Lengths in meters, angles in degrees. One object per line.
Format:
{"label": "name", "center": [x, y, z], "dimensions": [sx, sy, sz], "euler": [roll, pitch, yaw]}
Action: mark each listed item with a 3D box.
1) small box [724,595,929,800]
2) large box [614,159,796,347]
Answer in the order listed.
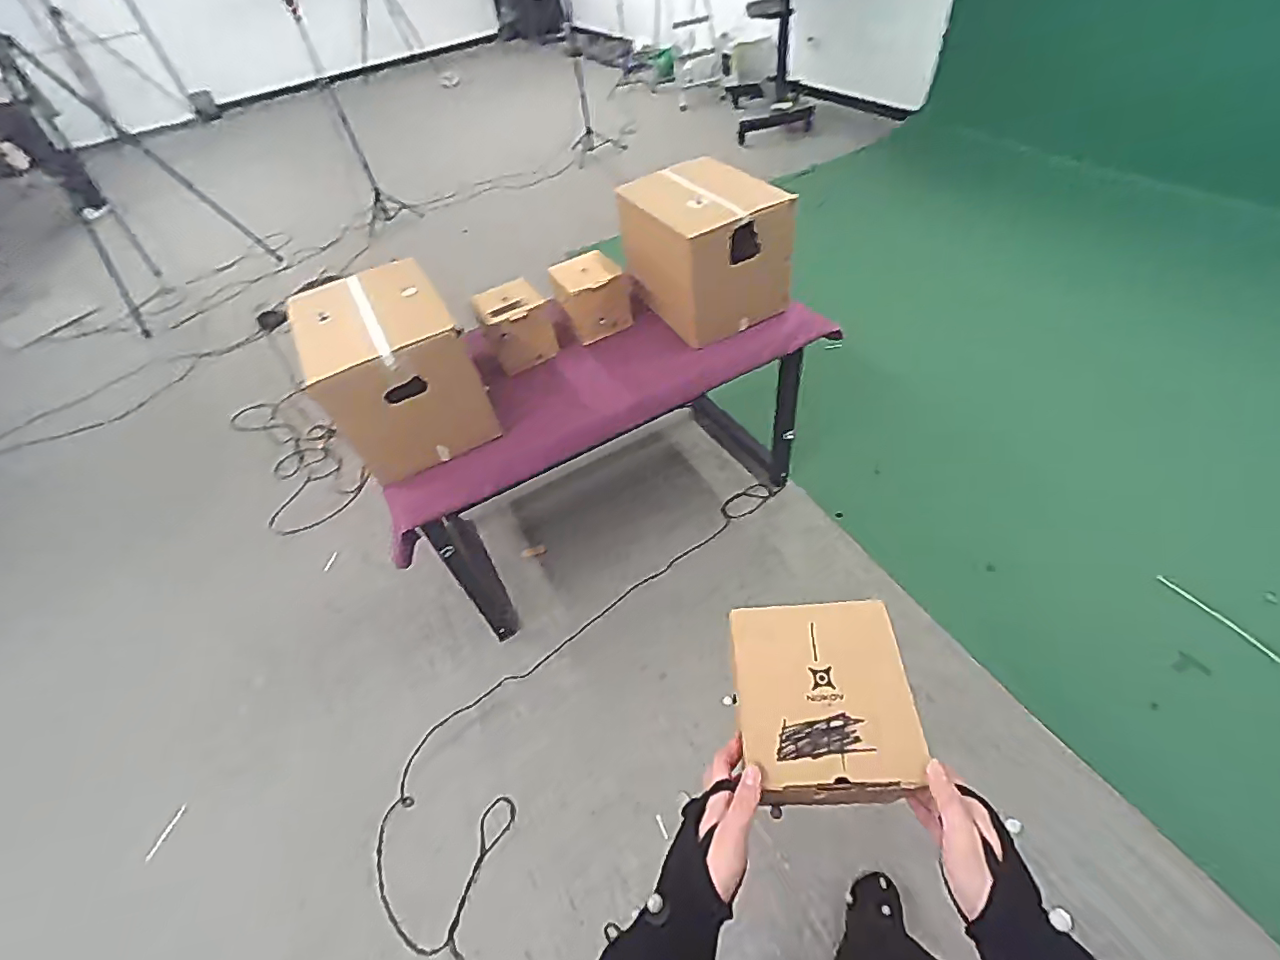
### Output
{"label": "small box", "center": [0.185, 0.246, 0.597], "dimensions": [0.168, 0.176, 0.179], "euler": [-5, 53, 4]}
{"label": "large box", "center": [0.168, -0.636, 1.504], "dimensions": [0.320, 0.320, 0.408], "euler": [-27, 51, -13]}
